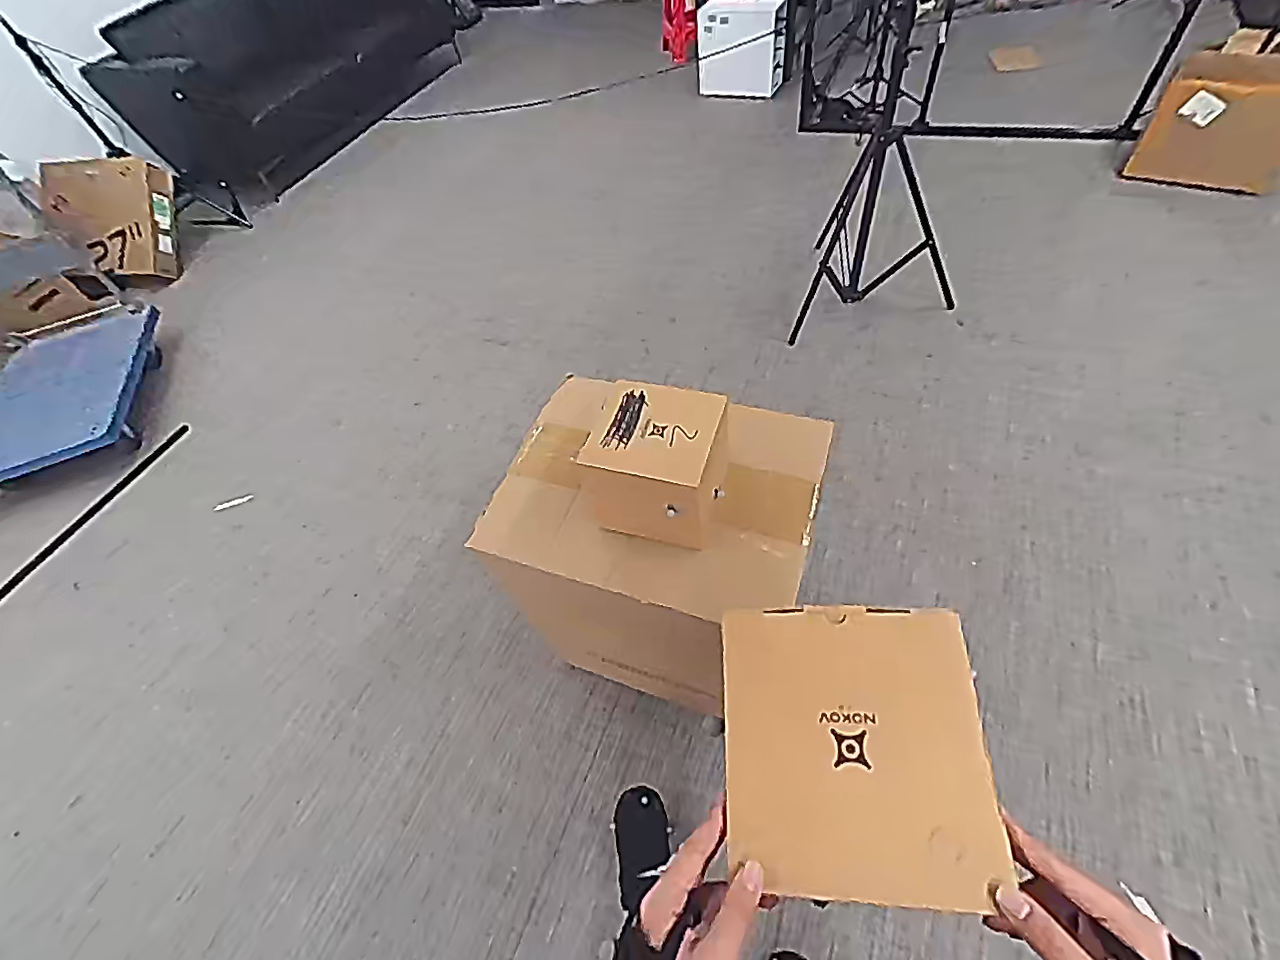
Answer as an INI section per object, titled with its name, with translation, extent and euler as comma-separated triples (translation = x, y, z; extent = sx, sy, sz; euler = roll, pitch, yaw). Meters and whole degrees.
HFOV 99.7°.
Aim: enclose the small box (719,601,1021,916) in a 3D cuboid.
[small box]
translation = 0.151, 0.201, 0.418
extent = 0.168, 0.176, 0.179
euler = -3, 61, 11
